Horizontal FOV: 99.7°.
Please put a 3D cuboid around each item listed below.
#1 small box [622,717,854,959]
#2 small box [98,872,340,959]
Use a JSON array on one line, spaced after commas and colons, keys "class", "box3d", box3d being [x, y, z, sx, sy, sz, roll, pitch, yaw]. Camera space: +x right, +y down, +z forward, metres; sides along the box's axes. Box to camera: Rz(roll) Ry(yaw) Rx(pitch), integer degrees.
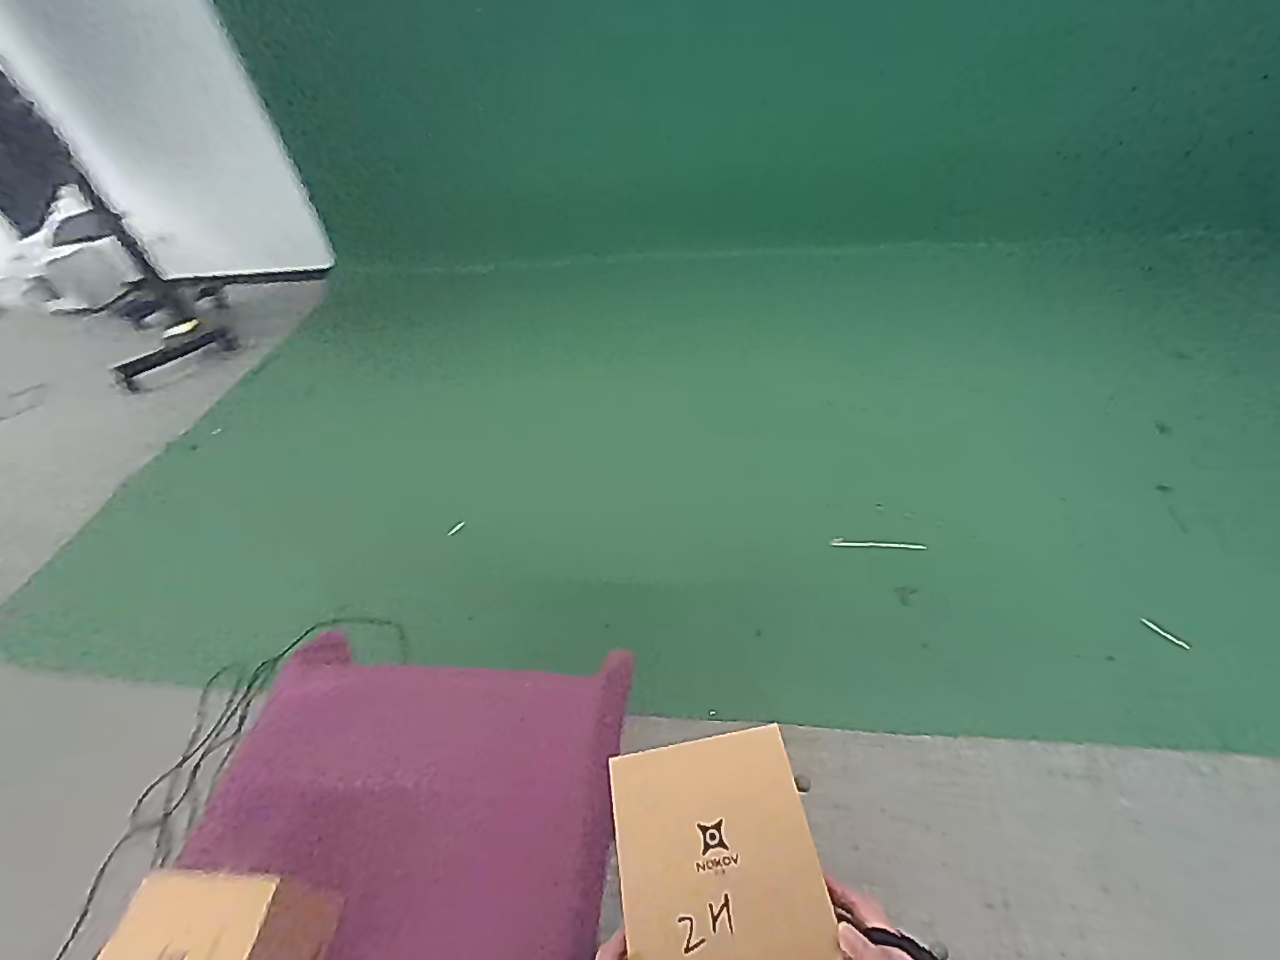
[{"class": "small box", "box3d": [0.083, 0.353, 0.516, 0.168, 0.176, 0.179, -12, 49, 3]}, {"class": "small box", "box3d": [-0.504, 0.584, 0.640, 0.179, 0.176, 0.168, -1, 46, 5]}]
